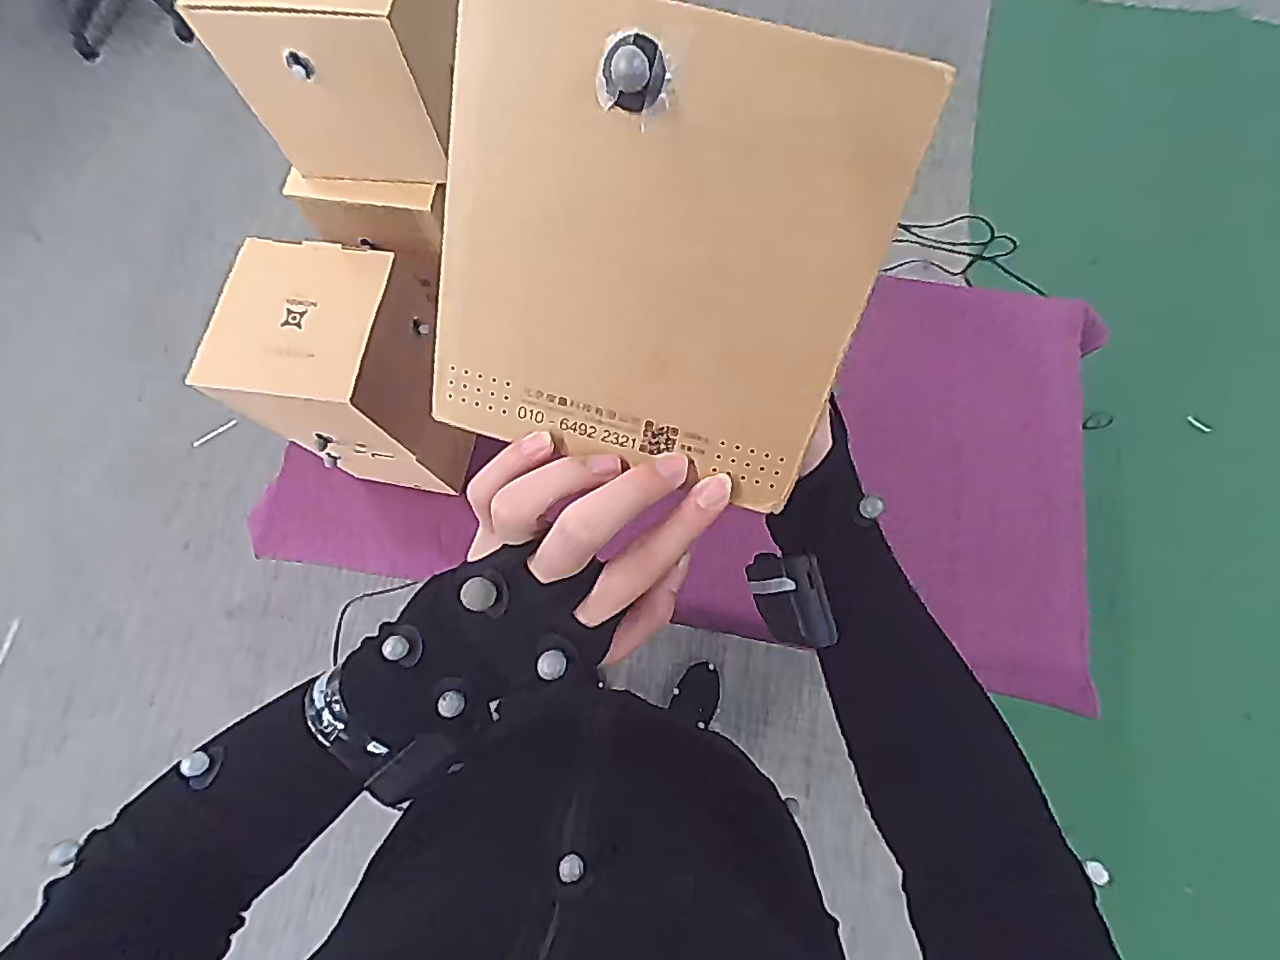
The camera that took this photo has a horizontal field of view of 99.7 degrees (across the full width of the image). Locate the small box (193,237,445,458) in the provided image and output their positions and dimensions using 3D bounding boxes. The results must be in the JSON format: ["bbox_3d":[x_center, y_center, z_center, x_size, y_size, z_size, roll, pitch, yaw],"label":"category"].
[{"bbox_3d":[-0.342,-0.142,0.621,0.168,0.176,0.179,8,74,3],"label":"small box"}]

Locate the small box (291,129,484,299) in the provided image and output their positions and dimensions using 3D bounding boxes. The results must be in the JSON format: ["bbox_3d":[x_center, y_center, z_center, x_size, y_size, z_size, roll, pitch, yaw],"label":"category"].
[{"bbox_3d":[-0.289,-0.354,0.684,0.168,0.176,0.179,7,74,2],"label":"small box"}]

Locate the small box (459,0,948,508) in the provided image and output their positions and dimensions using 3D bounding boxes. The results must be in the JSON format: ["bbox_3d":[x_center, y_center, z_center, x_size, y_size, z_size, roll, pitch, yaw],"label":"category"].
[{"bbox_3d":[0.018,-0.109,0.288,0.168,0.179,0.176,16,114,4],"label":"small box"}]

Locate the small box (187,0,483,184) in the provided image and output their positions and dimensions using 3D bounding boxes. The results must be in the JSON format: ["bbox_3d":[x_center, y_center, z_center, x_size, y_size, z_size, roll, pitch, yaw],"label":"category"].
[{"bbox_3d":[-0.274,-0.422,0.532,0.179,0.176,0.168,4,74,1],"label":"small box"}]
